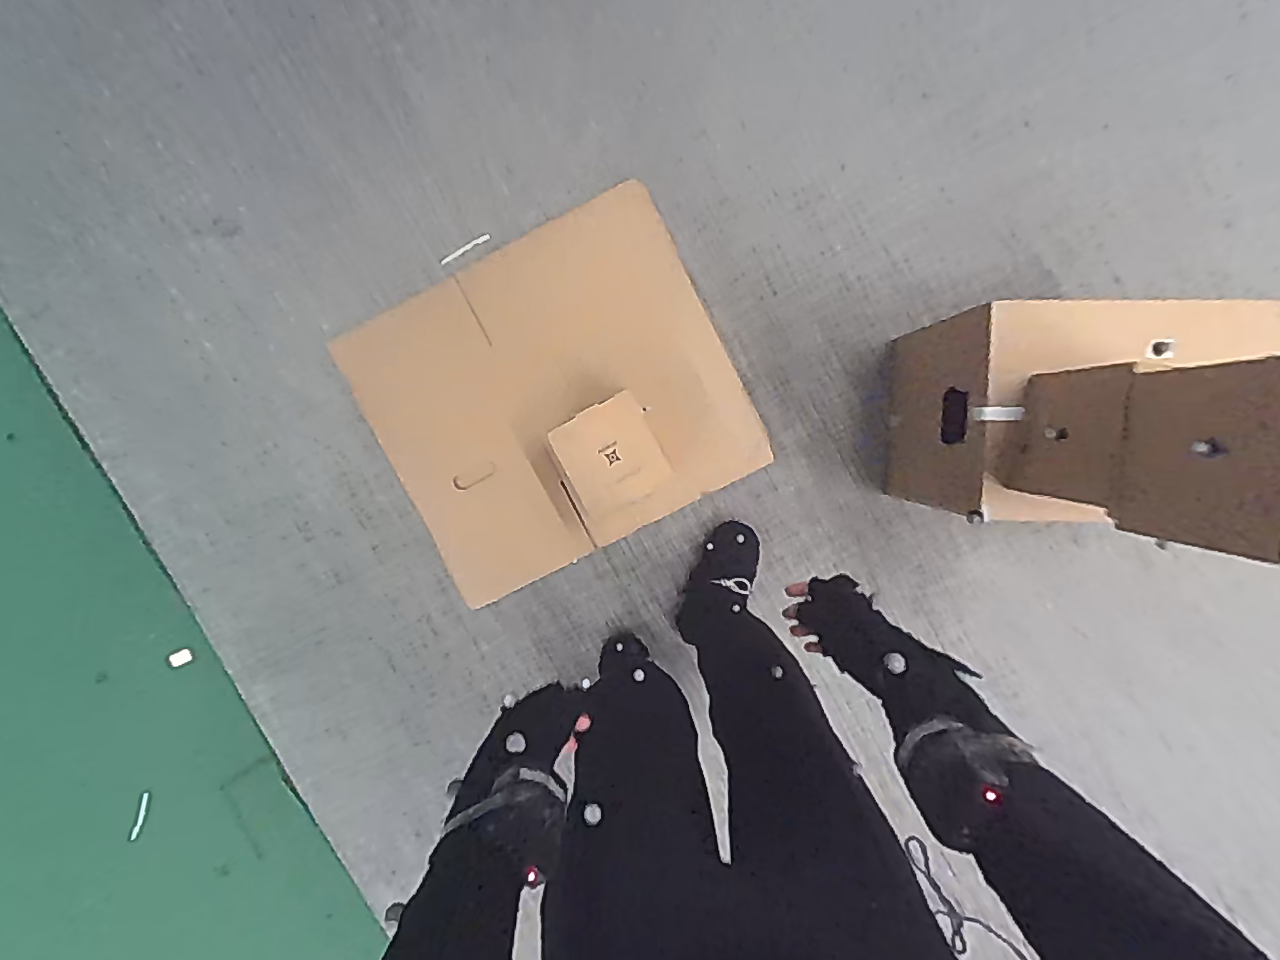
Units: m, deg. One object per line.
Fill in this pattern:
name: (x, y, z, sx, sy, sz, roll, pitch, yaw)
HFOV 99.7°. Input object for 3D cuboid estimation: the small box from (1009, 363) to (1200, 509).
small box: (0.610, -0.045, 0.682, 0.179, 0.176, 0.168, 5, 94, 1)

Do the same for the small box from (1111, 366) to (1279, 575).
small box: (0.602, -0.016, 0.517, 0.168, 0.176, 0.179, 0, 97, 2)

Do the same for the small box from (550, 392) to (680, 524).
small box: (-0.039, -0.043, 0.994, 0.168, 0.176, 0.179, -29, 94, 6)
